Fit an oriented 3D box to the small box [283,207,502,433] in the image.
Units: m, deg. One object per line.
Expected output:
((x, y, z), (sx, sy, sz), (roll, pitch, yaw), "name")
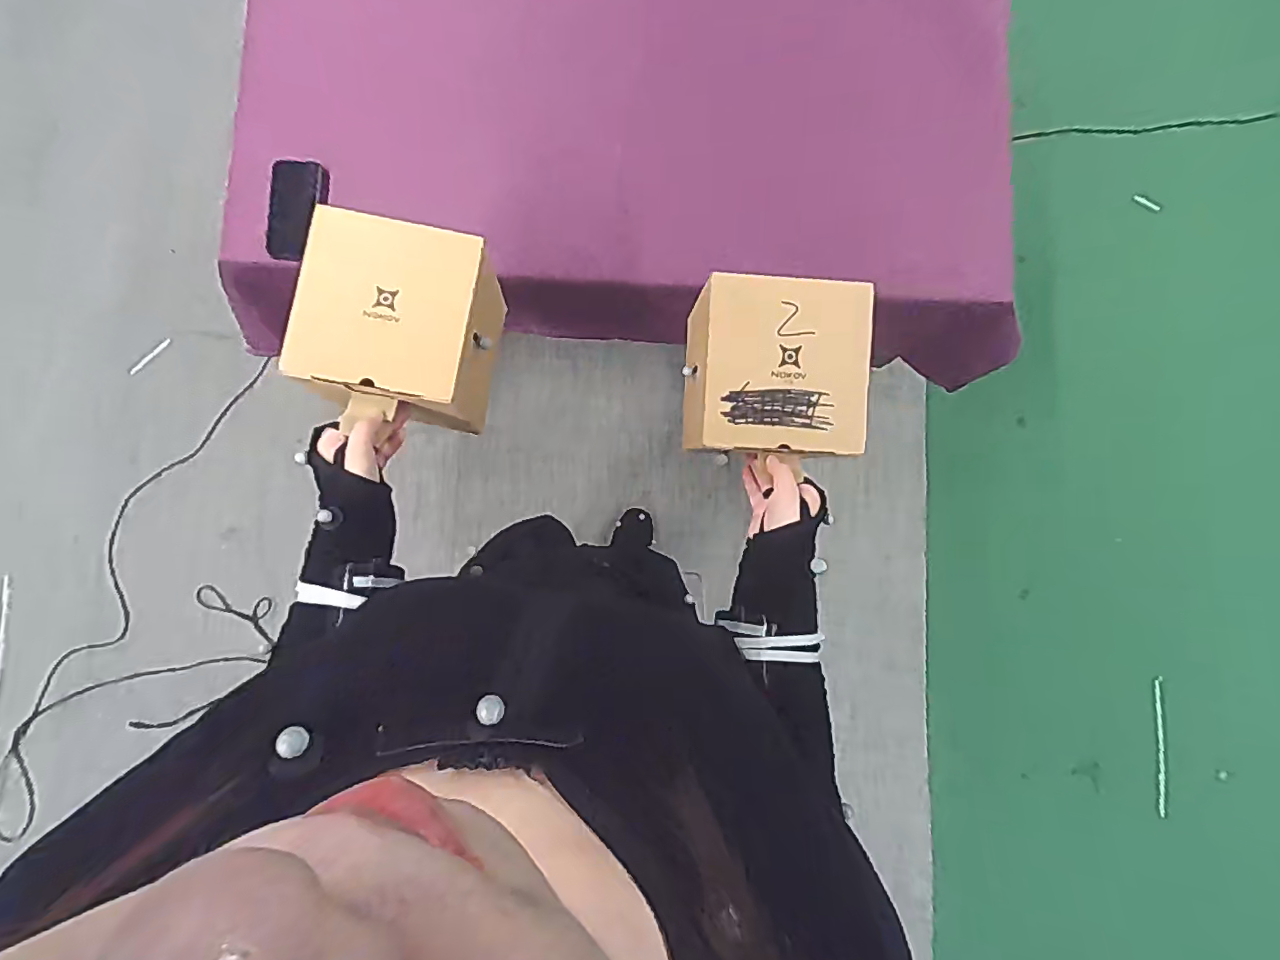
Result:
((-0.257, -0.163, 0.608), (0.168, 0.176, 0.179), (10, 84, -6), "small box")
